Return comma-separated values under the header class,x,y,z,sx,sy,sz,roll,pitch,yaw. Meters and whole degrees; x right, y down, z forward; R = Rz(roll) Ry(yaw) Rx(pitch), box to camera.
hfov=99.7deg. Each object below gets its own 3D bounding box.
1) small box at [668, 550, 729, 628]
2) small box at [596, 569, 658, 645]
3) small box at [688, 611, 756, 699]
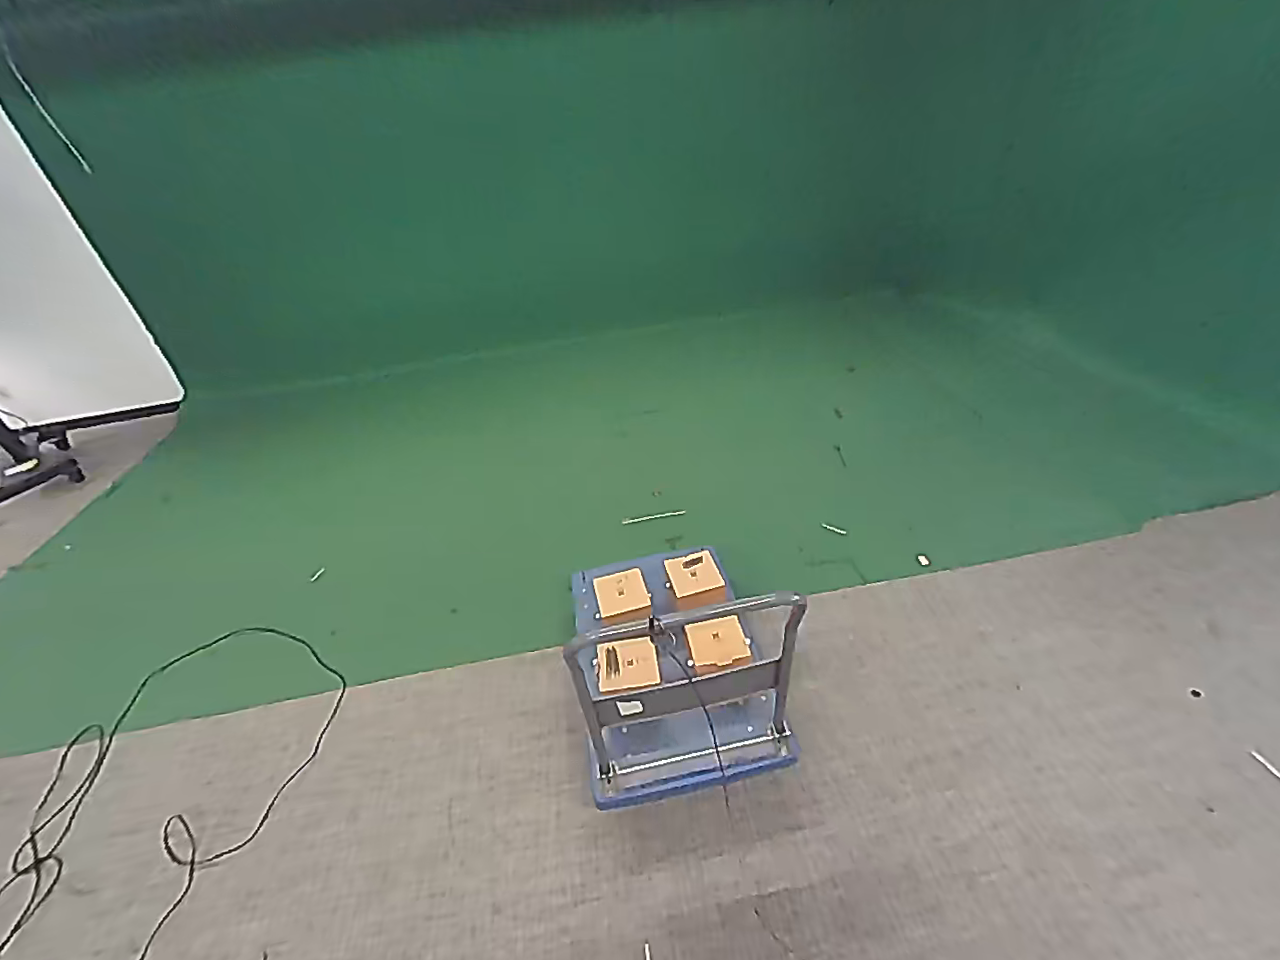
class,x,y,z,sx,sy,sz,roll,pitch,yaw
small box,0.200,0.375,1.856,0.168,0.176,0.179,-14,37,-6
small box,-0.043,0.434,1.825,0.168,0.176,0.179,-13,36,-7
small box,0.244,0.529,1.638,0.168,0.176,0.179,-10,37,-3
